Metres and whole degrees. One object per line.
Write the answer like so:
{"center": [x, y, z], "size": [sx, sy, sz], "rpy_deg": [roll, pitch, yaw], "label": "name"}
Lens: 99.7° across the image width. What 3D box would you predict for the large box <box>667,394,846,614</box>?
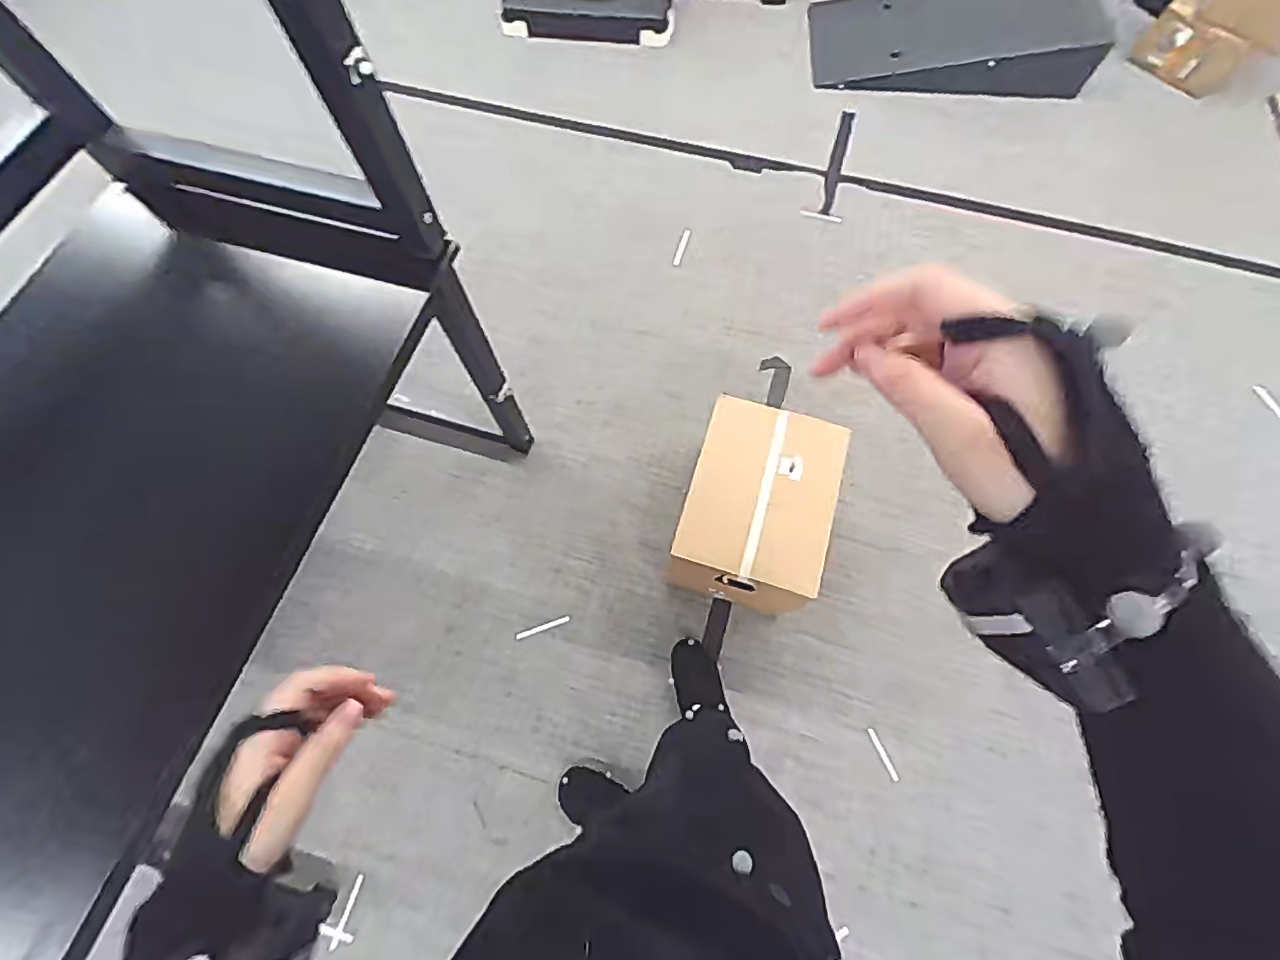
{"center": [0.266, 0.071, 1.309], "size": [0.320, 0.320, 0.408], "rpy_deg": [17, 70, 5], "label": "large box"}
